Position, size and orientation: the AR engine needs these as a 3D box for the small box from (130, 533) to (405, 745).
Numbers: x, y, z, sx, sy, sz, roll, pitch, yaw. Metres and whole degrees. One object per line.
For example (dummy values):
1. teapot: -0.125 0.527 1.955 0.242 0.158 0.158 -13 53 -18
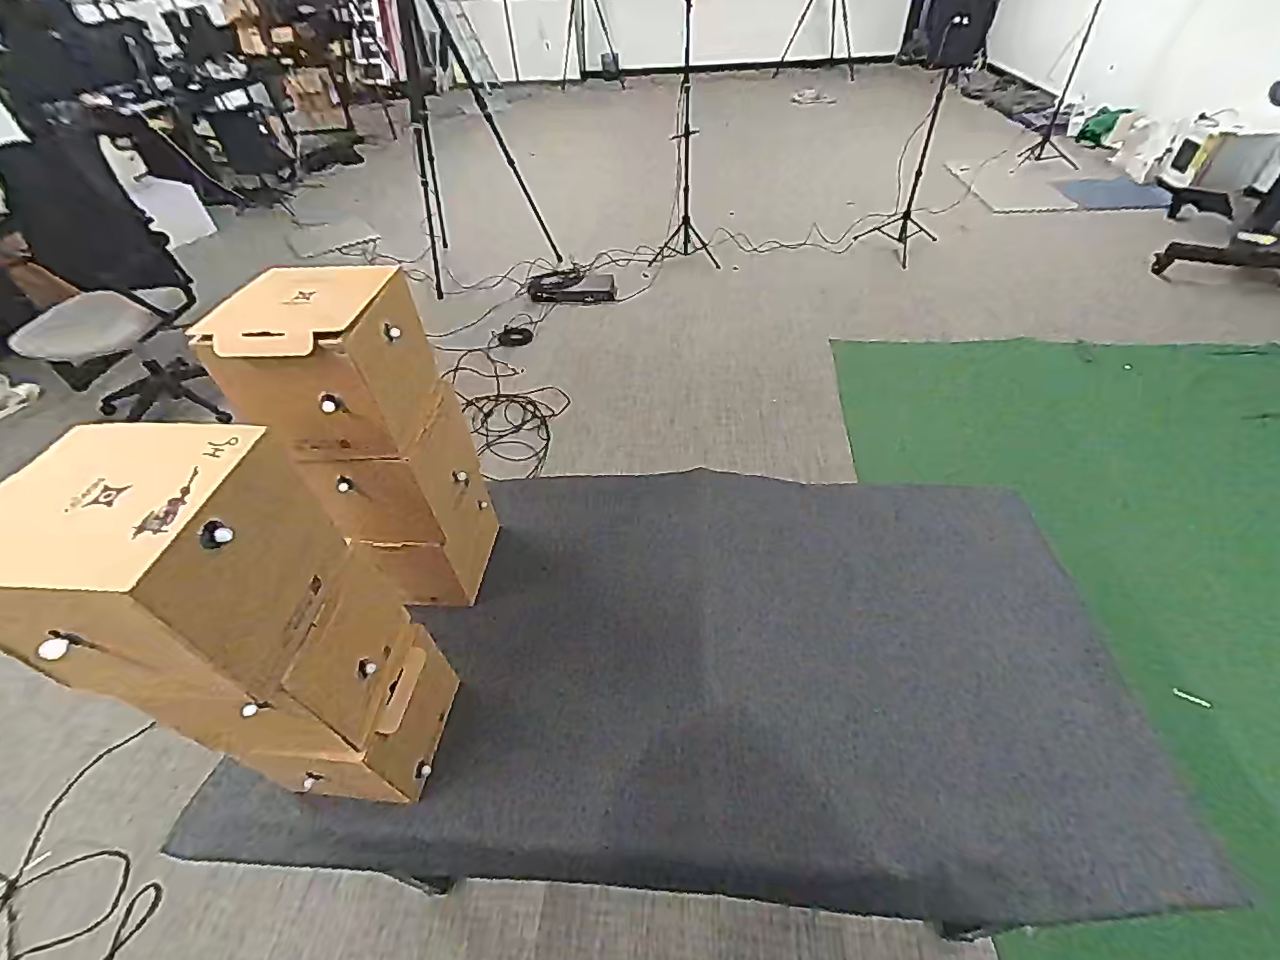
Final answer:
1. small box: -0.388 0.172 0.582 0.179 0.176 0.168 -1 46 3

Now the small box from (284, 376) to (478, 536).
1. small box: -0.357 -0.034 0.775 0.179 0.176 0.168 2 47 5

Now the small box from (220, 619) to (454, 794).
1. small box: -0.365 0.288 0.694 0.179 0.176 0.168 2 46 7

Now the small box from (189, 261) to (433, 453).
1. small box: -0.372 -0.146 0.659 0.168 0.176 0.179 0 45 2

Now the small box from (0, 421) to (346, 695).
1. small box: -0.395 0.067 0.456 0.179 0.176 0.168 1 46 5
